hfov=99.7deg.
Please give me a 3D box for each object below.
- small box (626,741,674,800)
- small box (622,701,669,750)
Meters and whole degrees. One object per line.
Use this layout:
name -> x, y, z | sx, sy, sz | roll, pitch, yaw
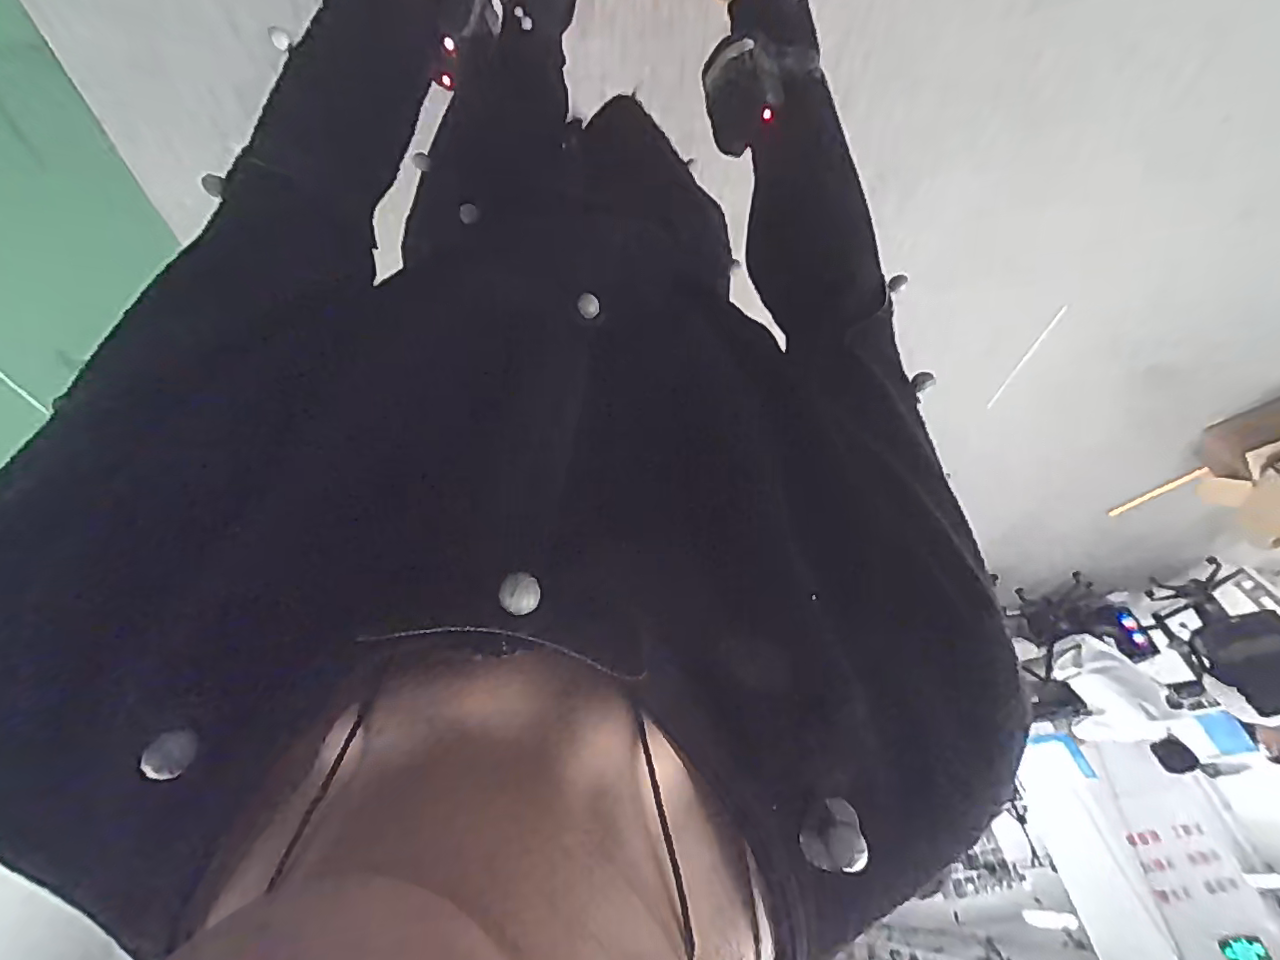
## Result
small box -> 0.038, 1.170, 2.180 | 0.179, 0.176, 0.168 | -8, 143, -3
small box -> 0.022, 1.044, 2.280 | 0.179, 0.176, 0.168 | -6, 143, -4
